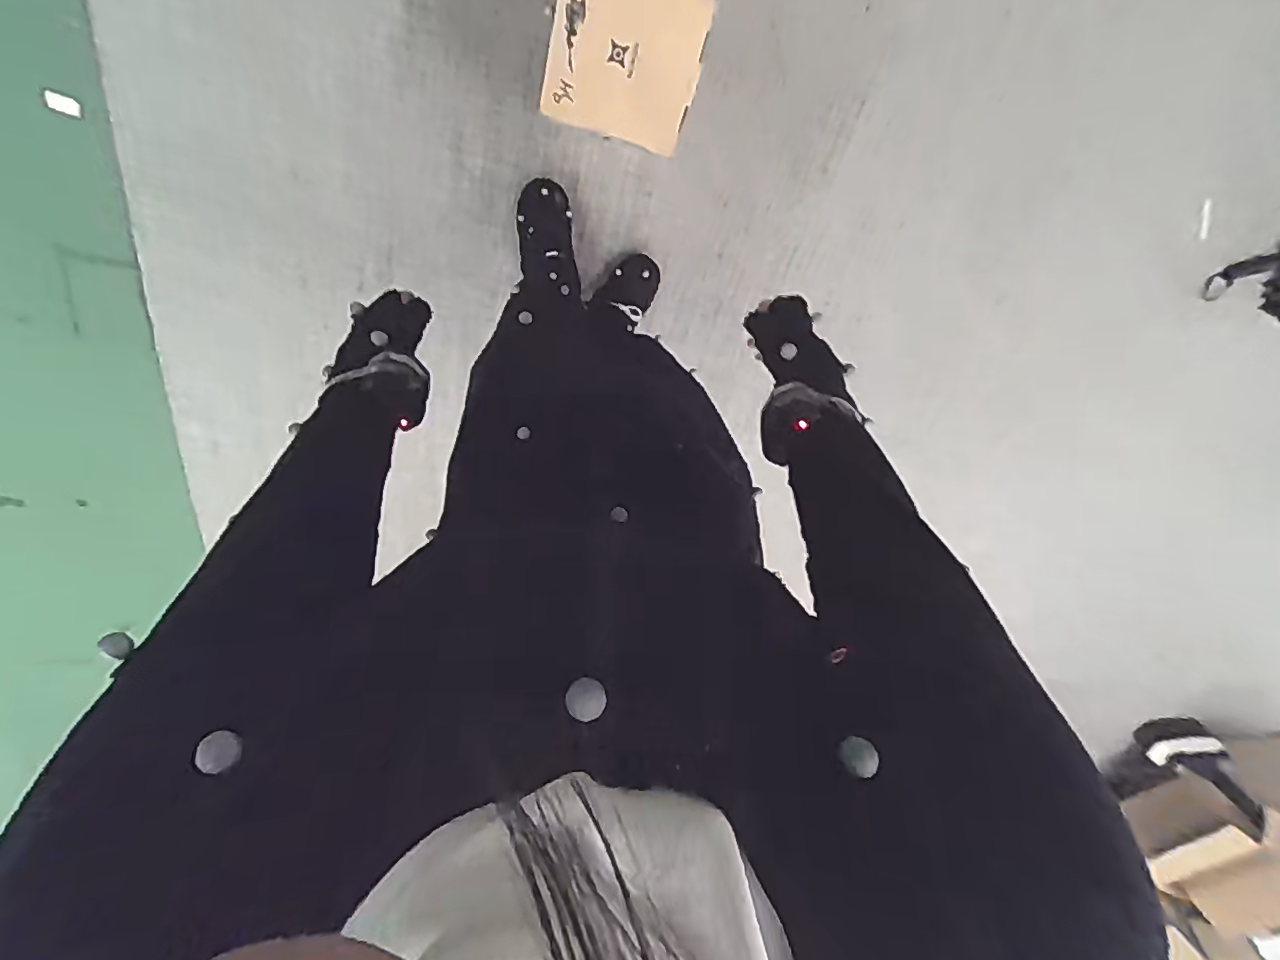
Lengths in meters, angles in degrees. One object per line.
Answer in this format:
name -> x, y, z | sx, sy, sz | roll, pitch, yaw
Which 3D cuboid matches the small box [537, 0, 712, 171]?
small box -> -0.027, -0.531, 0.713 | 0.179, 0.176, 0.168 | 13, 120, -12
